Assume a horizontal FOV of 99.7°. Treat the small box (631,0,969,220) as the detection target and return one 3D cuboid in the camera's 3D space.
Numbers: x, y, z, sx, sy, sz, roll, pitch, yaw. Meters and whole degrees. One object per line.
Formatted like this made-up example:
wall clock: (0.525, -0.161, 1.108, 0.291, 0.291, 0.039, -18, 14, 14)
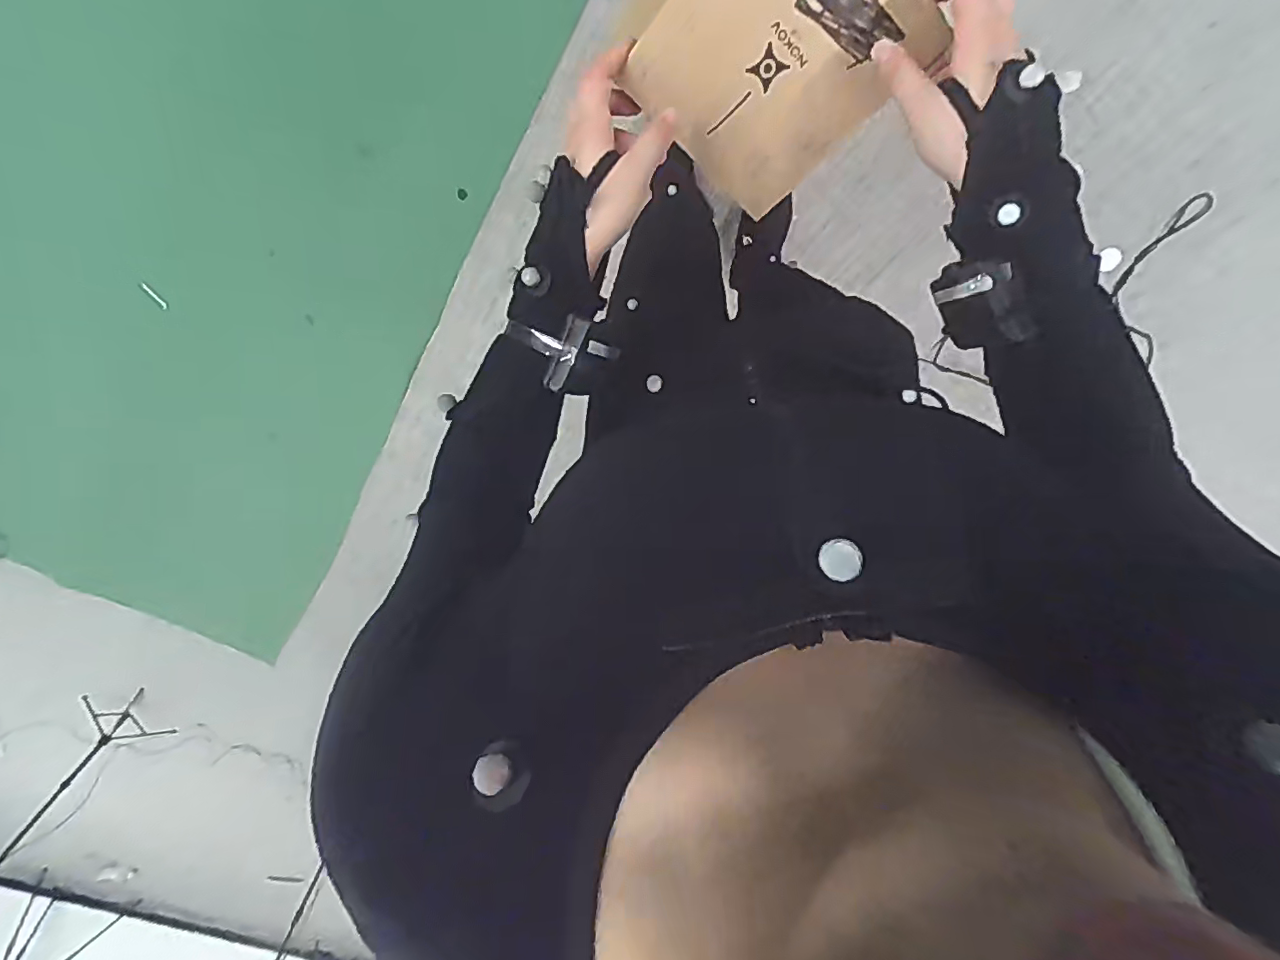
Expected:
small box: (0.105, -0.357, 0.420, 0.168, 0.176, 0.179, 26, 136, -31)
